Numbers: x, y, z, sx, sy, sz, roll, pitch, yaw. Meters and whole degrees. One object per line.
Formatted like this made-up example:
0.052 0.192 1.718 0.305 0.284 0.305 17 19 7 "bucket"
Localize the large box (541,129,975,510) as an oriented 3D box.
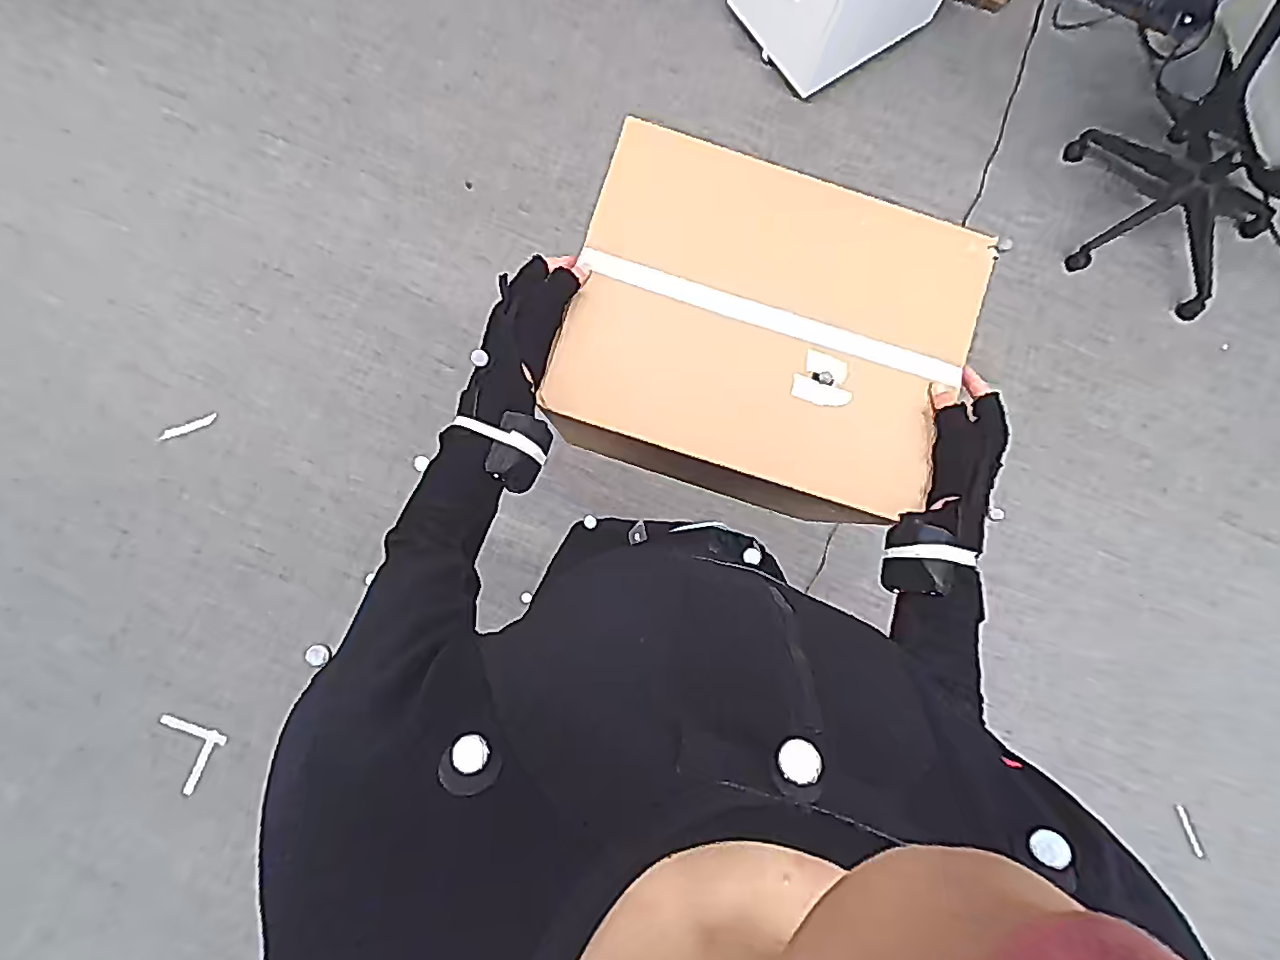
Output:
0.120 -0.162 0.712 0.408 0.320 0.320 18 88 -2 "large box"
